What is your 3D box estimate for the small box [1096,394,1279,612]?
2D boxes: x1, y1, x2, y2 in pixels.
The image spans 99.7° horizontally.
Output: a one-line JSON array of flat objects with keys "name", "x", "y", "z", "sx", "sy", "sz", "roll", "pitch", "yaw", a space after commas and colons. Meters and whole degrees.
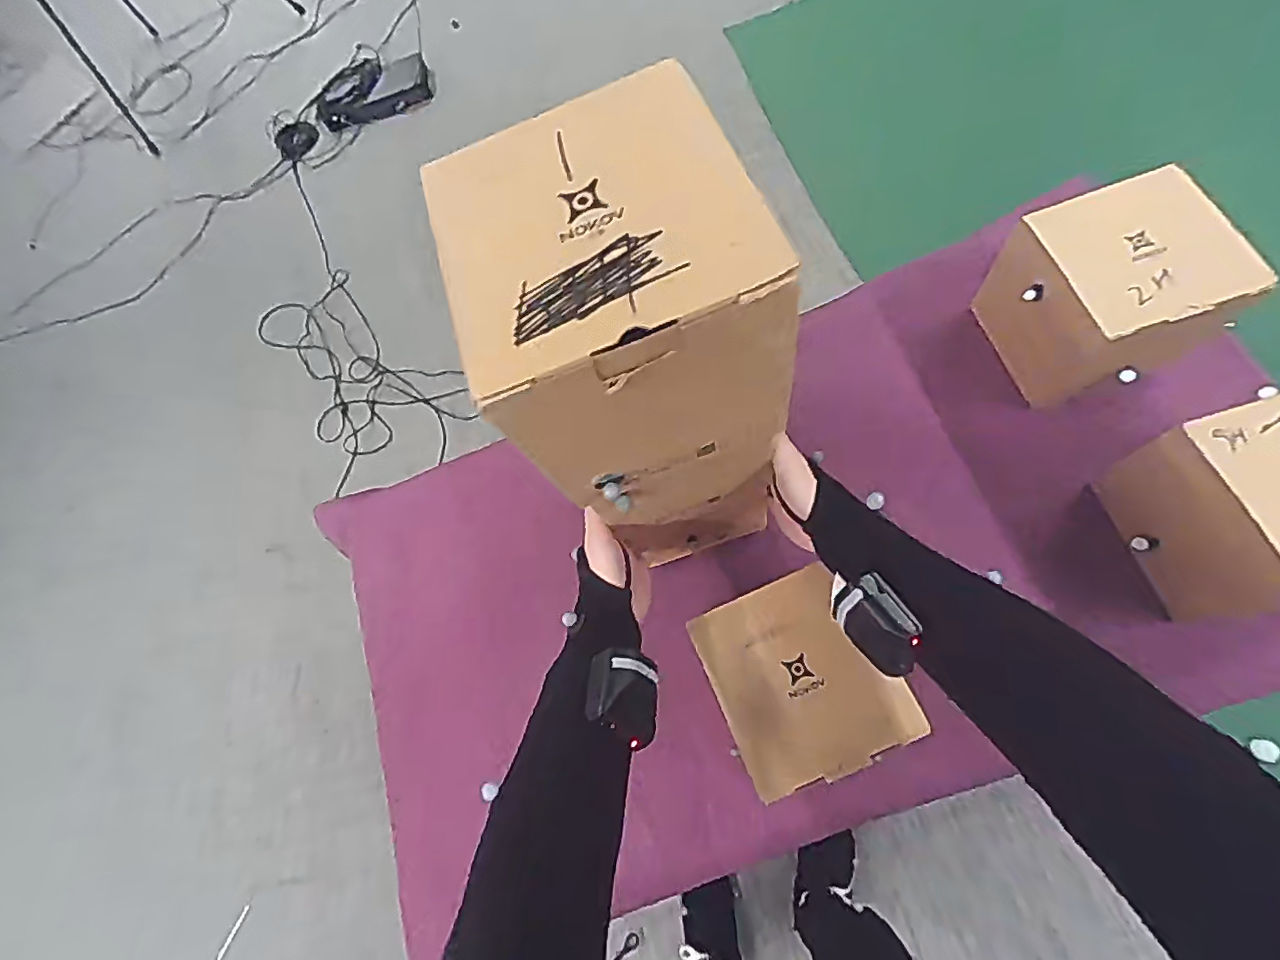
[{"name": "small box", "x": 0.617, "y": 0.025, "z": 0.532, "sx": 0.168, "sy": 0.176, "sz": 0.179, "roll": -18, "pitch": 68, "yaw": 7}]

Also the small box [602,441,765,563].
[{"name": "small box", "x": 0.041, "y": -0.017, "z": 0.658, "sx": 0.168, "sy": 0.176, "sz": 0.179, "roll": -20, "pitch": 68, "yaw": 5}]

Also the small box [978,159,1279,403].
[{"name": "small box", "x": 0.537, "y": -0.220, "z": 0.633, "sx": 0.168, "sy": 0.176, "sz": 0.179, "roll": -18, "pitch": 69, "yaw": 8}]

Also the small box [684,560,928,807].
[{"name": "small box", "x": 0.164, "y": 0.208, "z": 0.576, "sx": 0.168, "sy": 0.176, "sz": 0.179, "roll": -25, "pitch": 67, "yaw": 3}]

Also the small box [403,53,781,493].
[{"name": "small box", "x": -0.019, "y": -0.106, "z": 0.347, "sx": 0.168, "sy": 0.176, "sz": 0.179, "roll": -21, "pitch": 67, "yaw": 5}]
